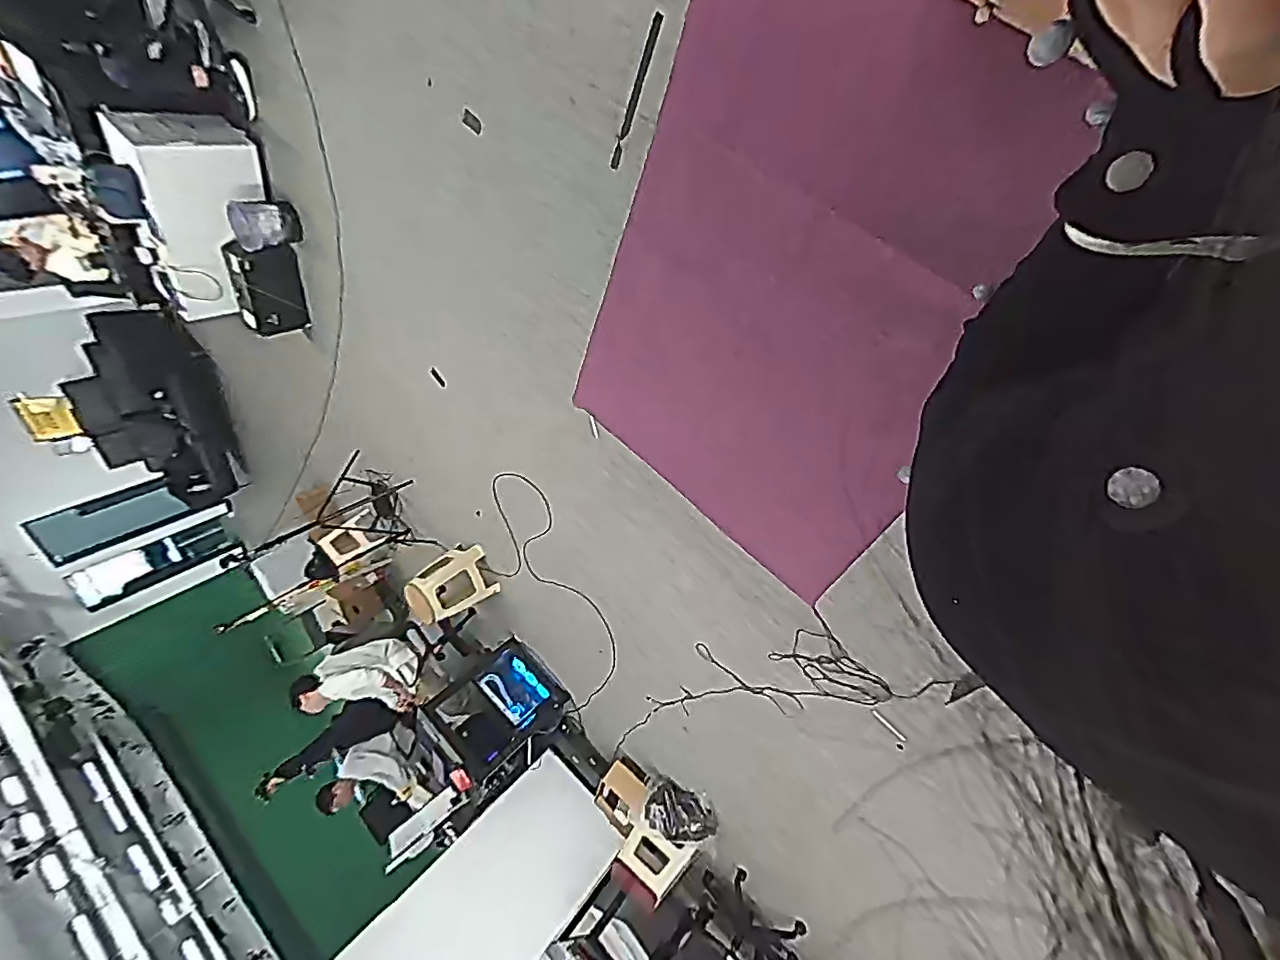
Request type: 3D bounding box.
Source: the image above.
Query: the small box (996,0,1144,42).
[{"bbox_3d":[0.252,-0.383,0.302,0.179,0.176,0.168,45,138,12],"label":"small box"}]

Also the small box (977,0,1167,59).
[{"bbox_3d":[0.351,-0.454,0.411,0.179,0.176,0.168,44,138,13],"label":"small box"}]
